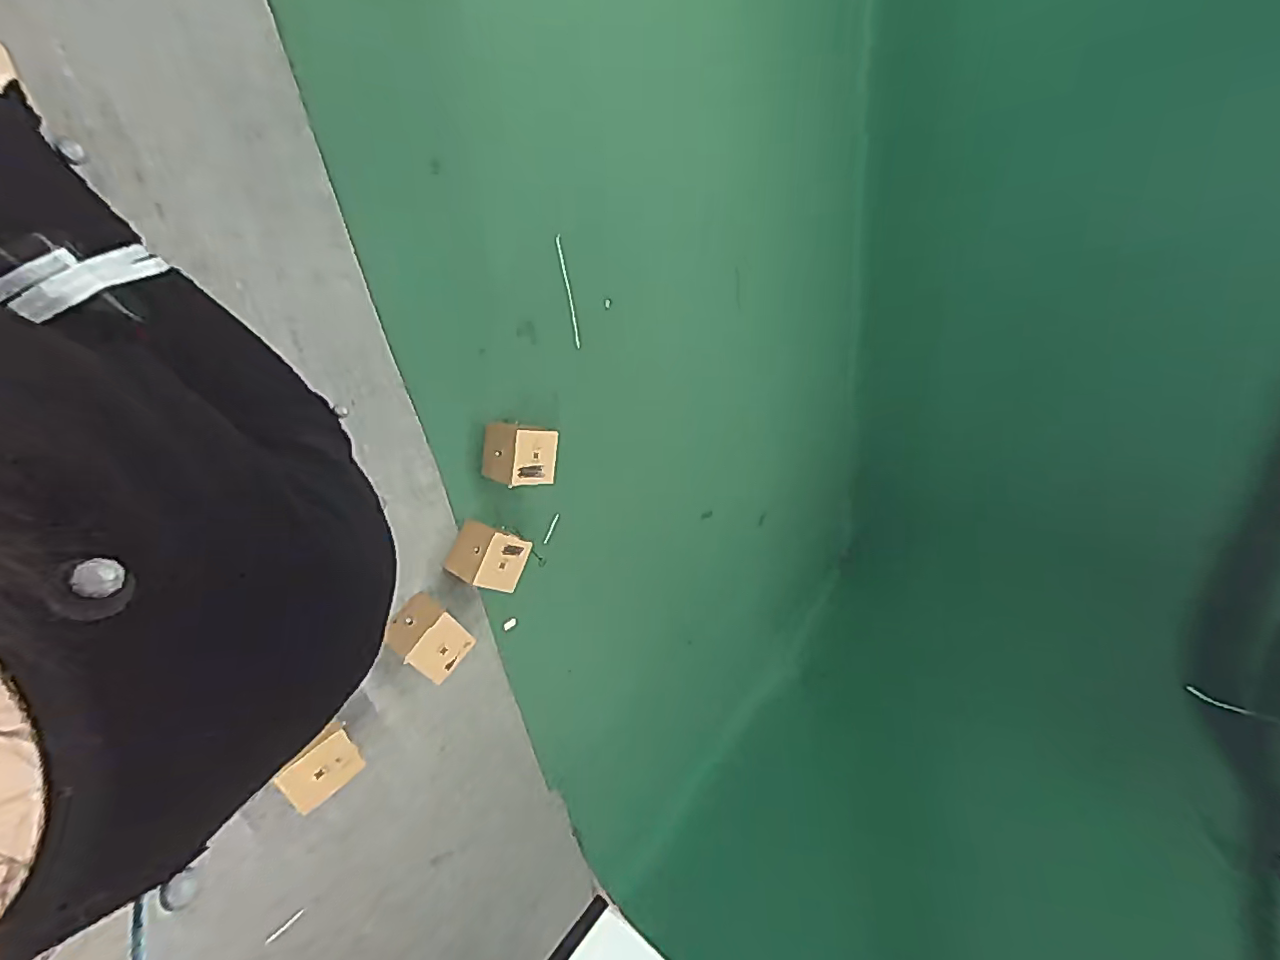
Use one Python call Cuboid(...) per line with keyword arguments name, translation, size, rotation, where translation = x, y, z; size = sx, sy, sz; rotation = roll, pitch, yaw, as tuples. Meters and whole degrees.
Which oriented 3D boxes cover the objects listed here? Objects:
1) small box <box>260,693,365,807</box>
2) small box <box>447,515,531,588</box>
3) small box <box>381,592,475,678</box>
Cuboid(name="small box", translation=(-0.886, 0.719, 1.454), size=(0.179, 0.176, 0.168), rotation=(-35, 128, -36))
Cuboid(name="small box", translation=(-0.491, 0.228, 1.745), size=(0.168, 0.176, 0.179), rotation=(30, 81, -50))
Cuboid(name="small box", translation=(-0.647, 0.463, 1.645), size=(0.168, 0.176, 0.179), rotation=(-50, 134, -26))
